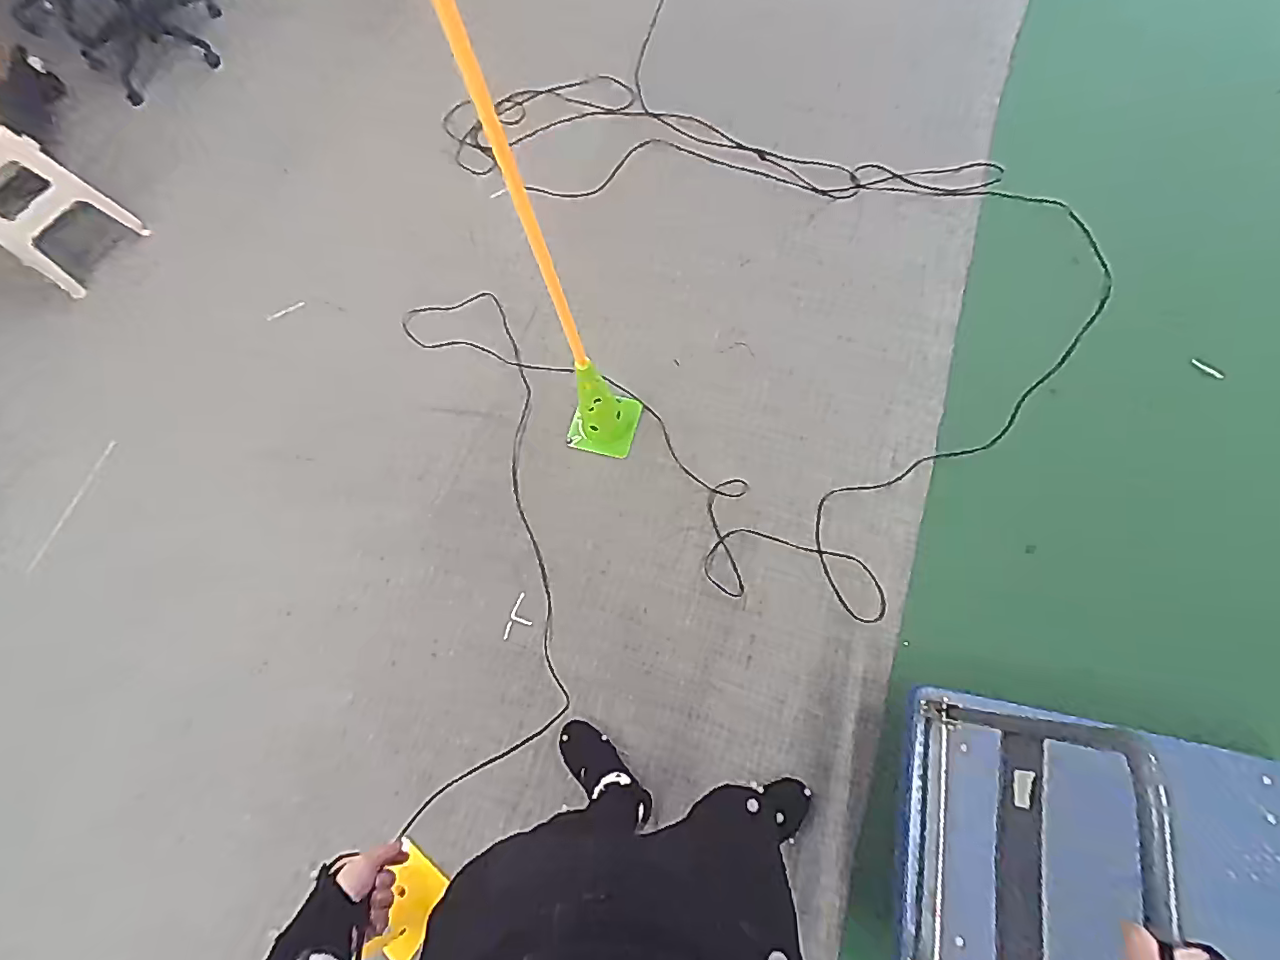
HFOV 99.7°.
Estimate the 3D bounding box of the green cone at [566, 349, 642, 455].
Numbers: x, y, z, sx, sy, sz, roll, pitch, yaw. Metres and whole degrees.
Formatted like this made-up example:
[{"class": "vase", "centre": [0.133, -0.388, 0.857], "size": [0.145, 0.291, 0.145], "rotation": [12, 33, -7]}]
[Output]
[{"class": "green cone", "centre": [-0.125, -0.241, 1.499], "size": [0.200, 0.368, 0.202], "rotation": [13, 71, 9]}]
